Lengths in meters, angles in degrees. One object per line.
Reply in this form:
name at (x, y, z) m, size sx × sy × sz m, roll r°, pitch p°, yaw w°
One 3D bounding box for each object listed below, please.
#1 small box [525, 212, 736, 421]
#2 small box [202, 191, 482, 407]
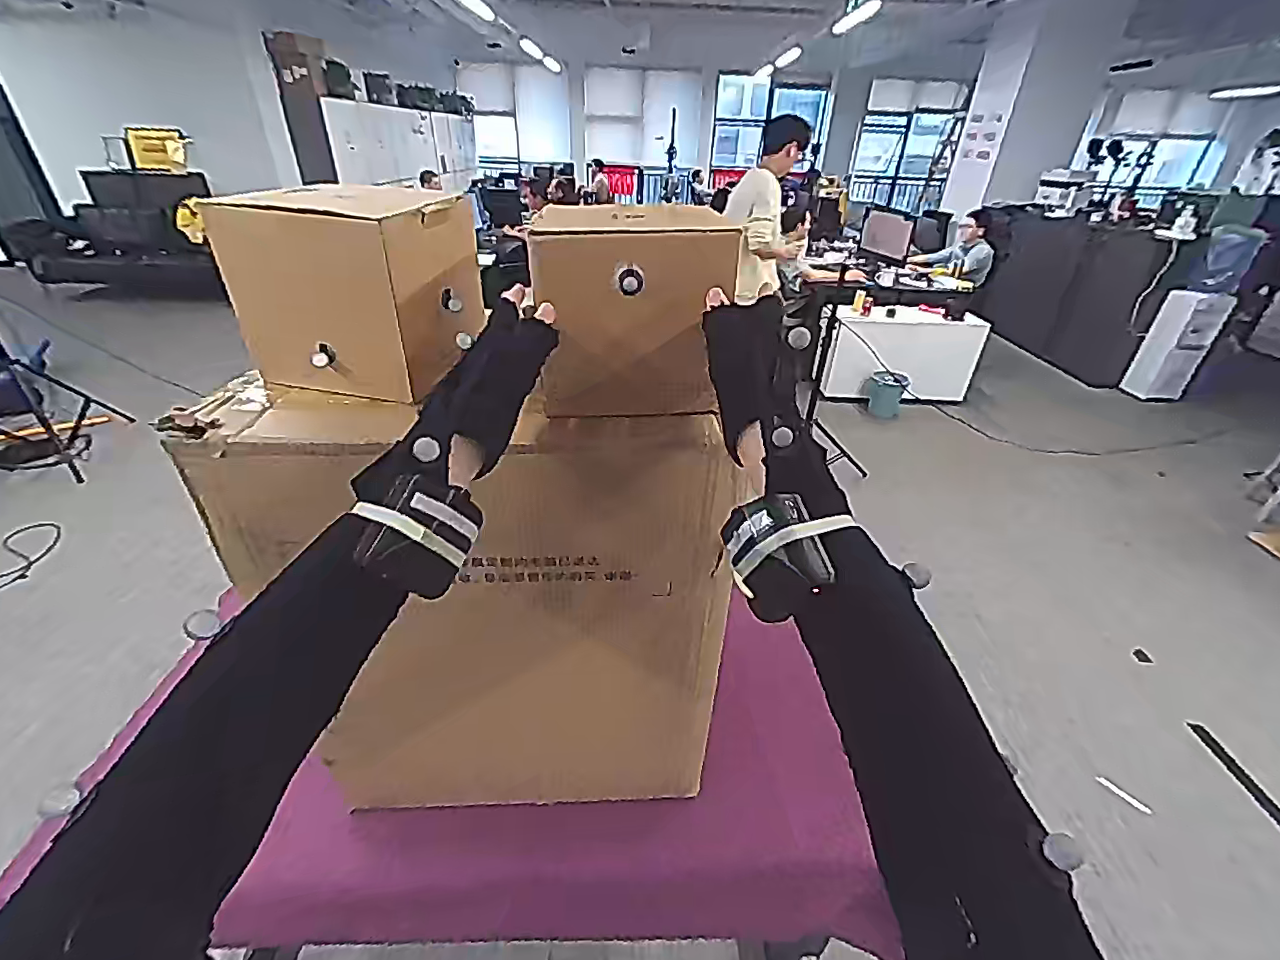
small box at (-0.010, -0.167, 0.545) m, size 0.179 × 0.176 × 0.168 m, roll -2°, pitch 33°, yaw -3°
small box at (-0.280, -0.189, 0.559) m, size 0.179 × 0.176 × 0.168 m, roll 9°, pitch 34°, yaw 8°
